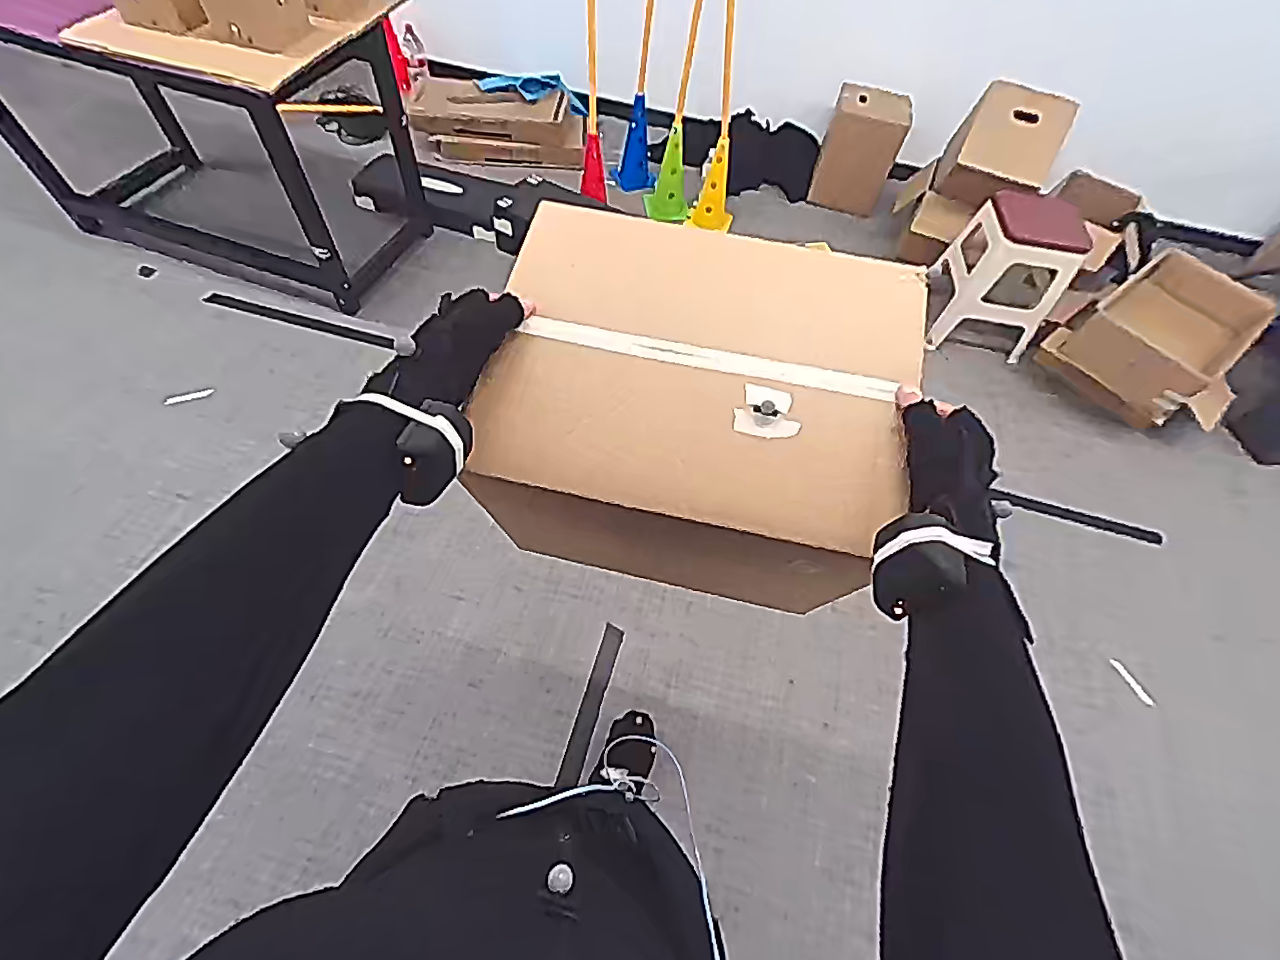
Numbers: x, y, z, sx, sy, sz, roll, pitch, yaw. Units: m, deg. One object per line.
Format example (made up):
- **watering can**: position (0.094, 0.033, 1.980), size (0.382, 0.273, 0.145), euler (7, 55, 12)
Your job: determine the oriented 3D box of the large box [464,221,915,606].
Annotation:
- **large box**: position (0.060, -0.056, 0.667), size (0.408, 0.320, 0.320), euler (12, 70, 4)
